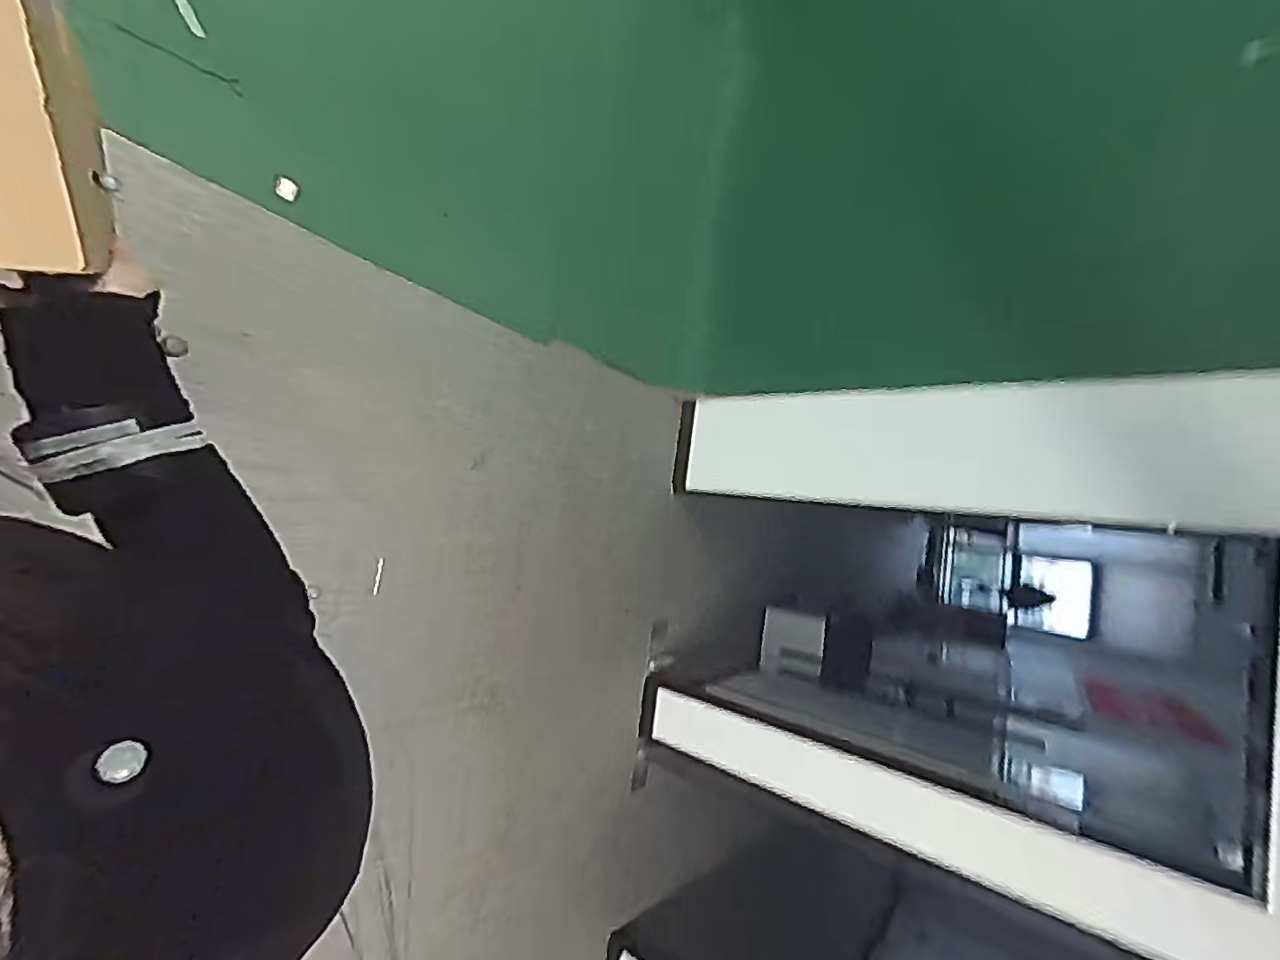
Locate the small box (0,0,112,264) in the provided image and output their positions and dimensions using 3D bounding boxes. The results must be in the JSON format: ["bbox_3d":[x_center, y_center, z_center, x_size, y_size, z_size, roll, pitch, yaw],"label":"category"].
[{"bbox_3d":[-0.493,-0.240,0.359,0.179,0.176,0.168,-9,114,-38],"label":"small box"}]
